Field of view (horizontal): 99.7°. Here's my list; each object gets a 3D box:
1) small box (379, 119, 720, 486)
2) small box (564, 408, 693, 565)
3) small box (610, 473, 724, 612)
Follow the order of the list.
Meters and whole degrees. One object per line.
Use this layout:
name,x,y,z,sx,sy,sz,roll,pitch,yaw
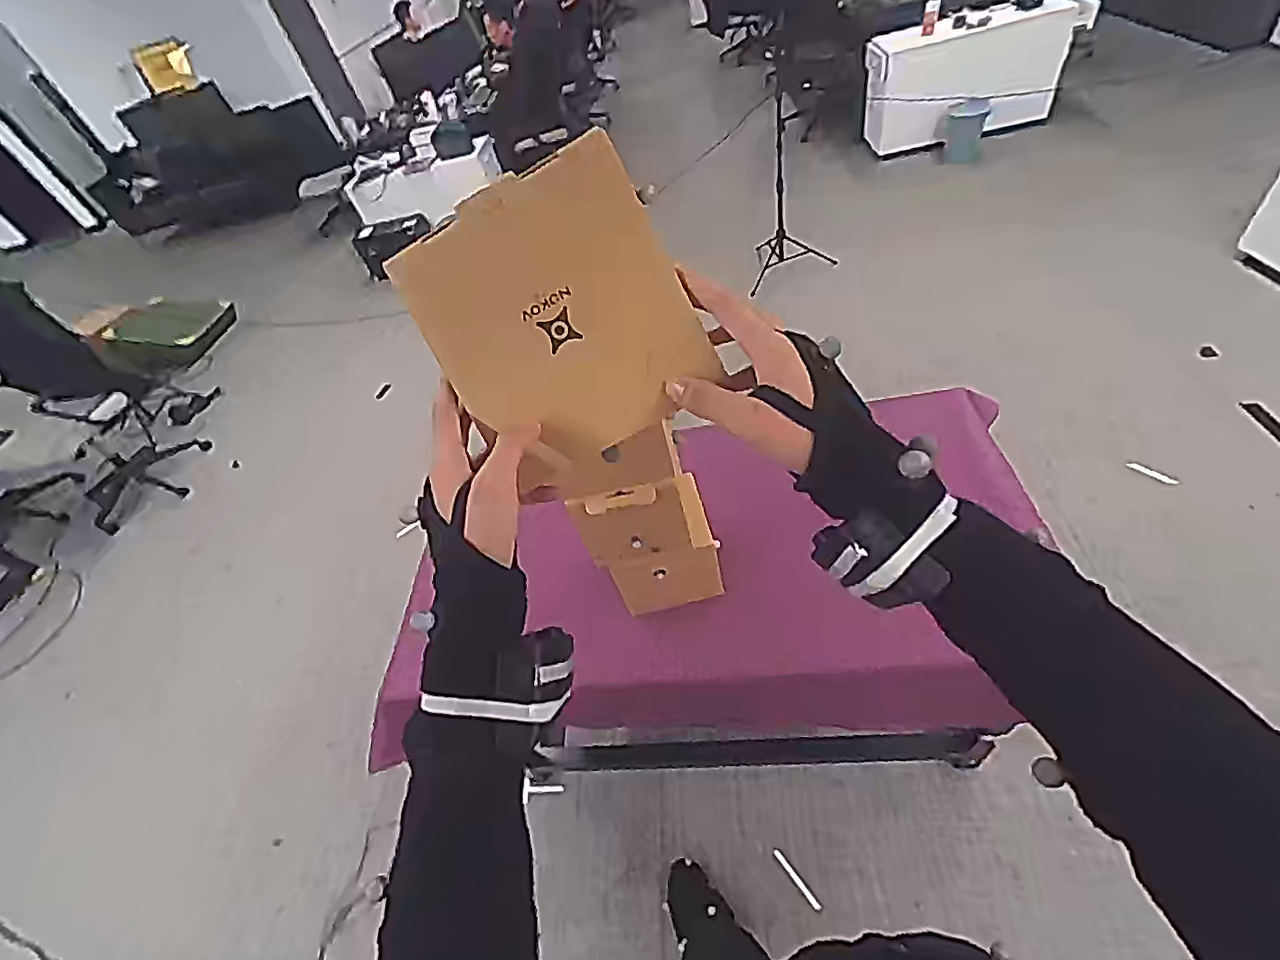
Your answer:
small box,-0.051,-0.120,0.423,0.168,0.179,0.176,-28,6,9
small box,-0.015,0.010,0.868,0.168,0.176,0.179,-12,47,7
small box,0.042,0.118,0.981,0.179,0.176,0.168,-15,47,3
